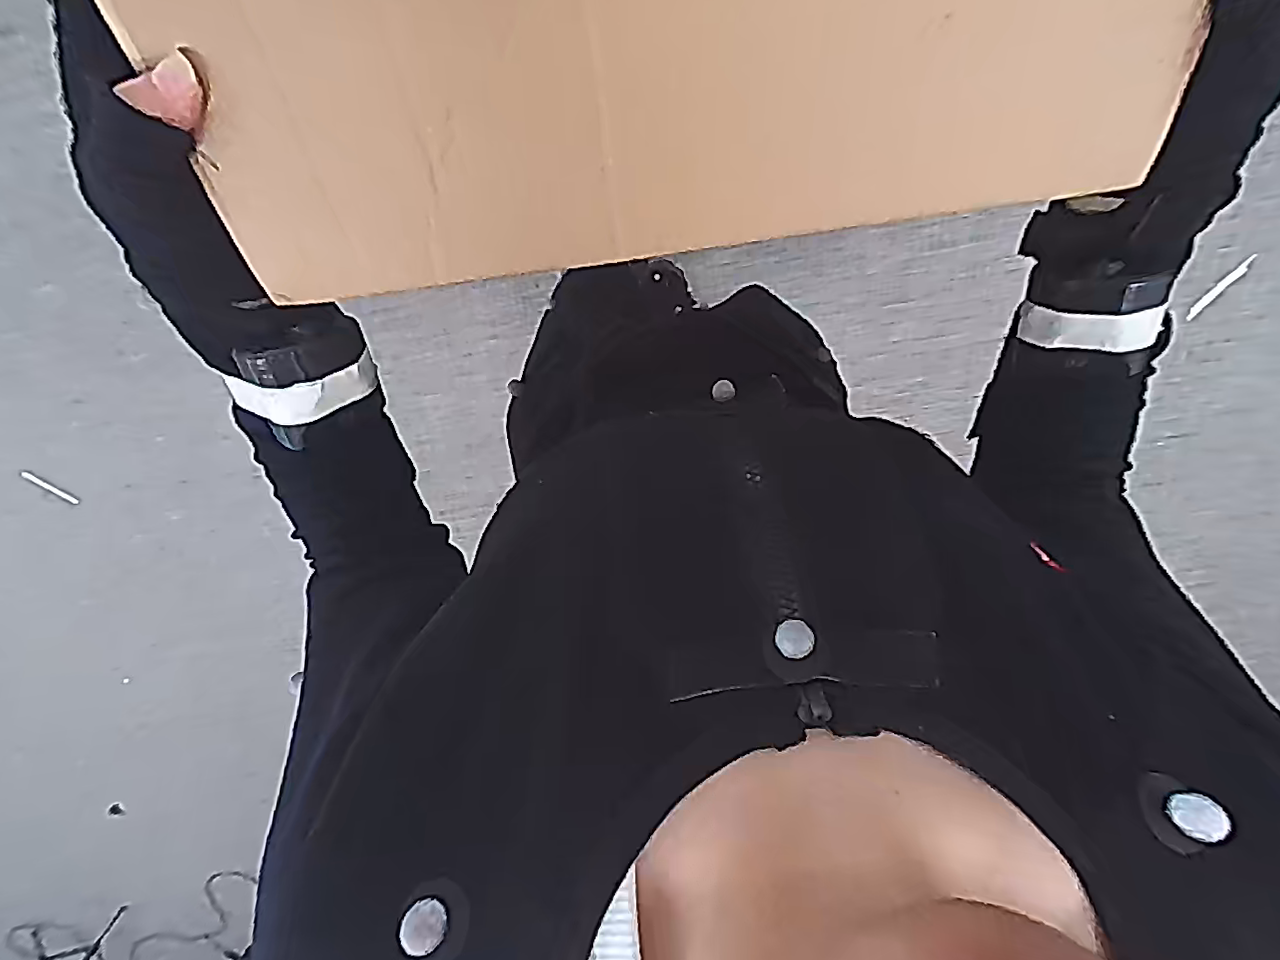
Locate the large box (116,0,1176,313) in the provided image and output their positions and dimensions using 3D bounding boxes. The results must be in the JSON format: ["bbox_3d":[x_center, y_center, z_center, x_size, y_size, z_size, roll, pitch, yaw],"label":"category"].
[{"bbox_3d":[-0.002,-0.322,0.277,0.408,0.320,0.320,-8,130,2],"label":"large box"}]
